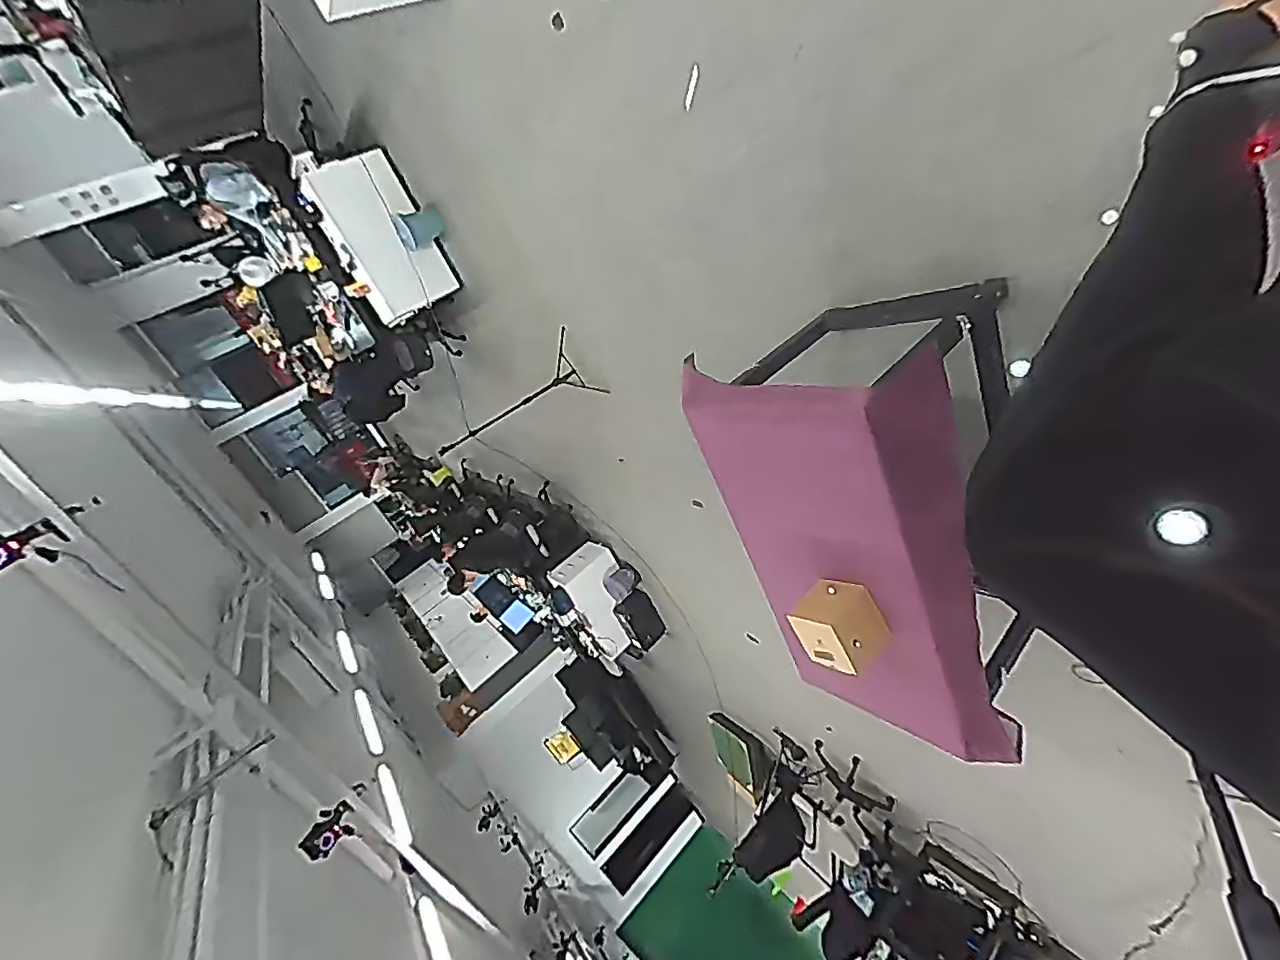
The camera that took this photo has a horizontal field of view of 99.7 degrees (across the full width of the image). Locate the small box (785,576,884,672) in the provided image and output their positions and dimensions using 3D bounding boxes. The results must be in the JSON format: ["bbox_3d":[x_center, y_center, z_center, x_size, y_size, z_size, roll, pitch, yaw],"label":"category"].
[{"bbox_3d":[0.552,0.400,1.524,0.179,0.176,0.168,59,154,-14],"label":"small box"}]
